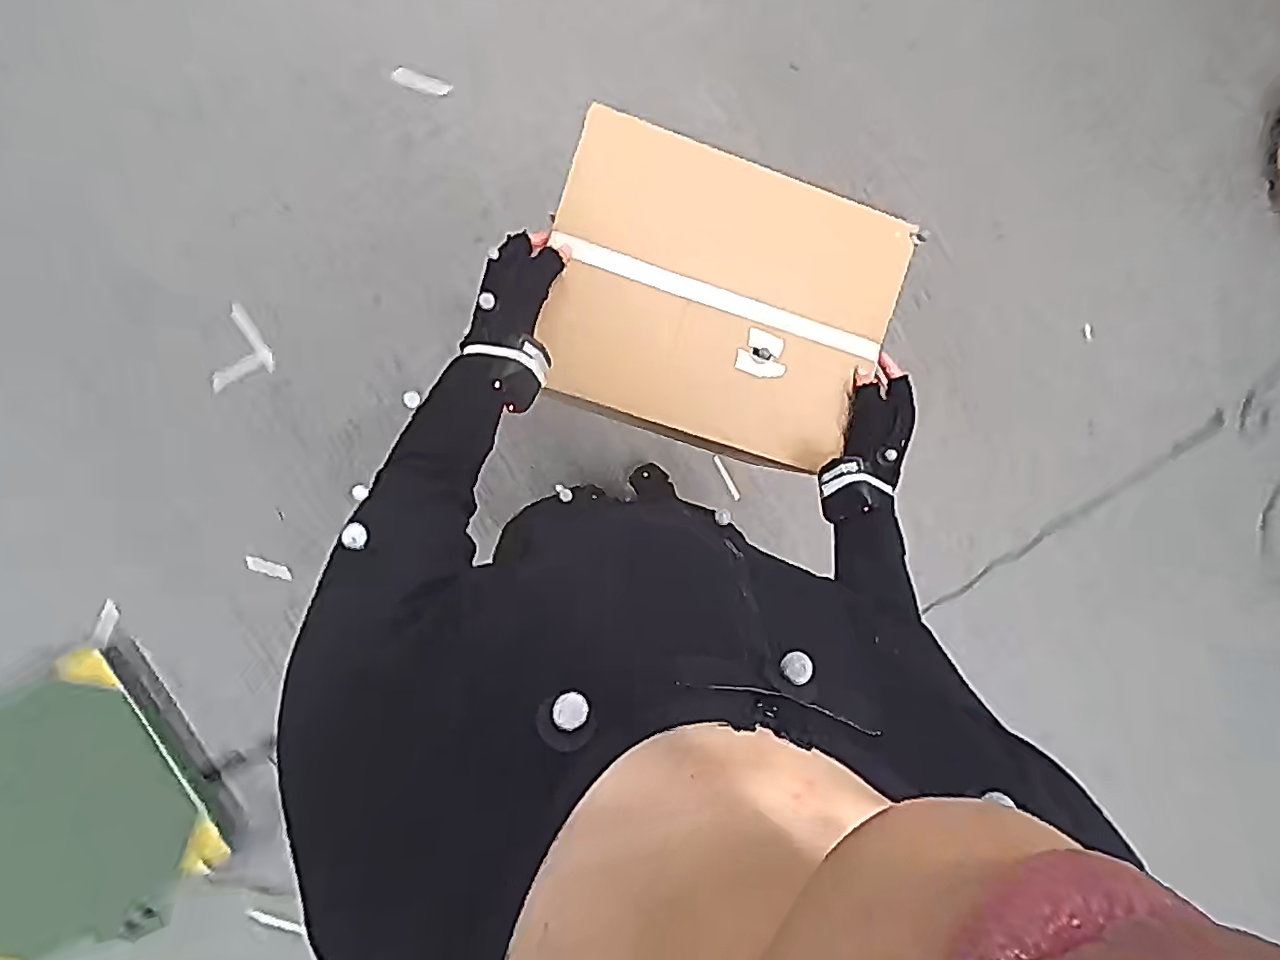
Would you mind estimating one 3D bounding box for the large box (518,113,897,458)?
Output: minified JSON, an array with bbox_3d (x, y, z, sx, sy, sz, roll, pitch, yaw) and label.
[{"bbox_3d":[0.068,-0.231,0.784,0.408,0.320,0.320,15,93,-7],"label":"large box"}]
